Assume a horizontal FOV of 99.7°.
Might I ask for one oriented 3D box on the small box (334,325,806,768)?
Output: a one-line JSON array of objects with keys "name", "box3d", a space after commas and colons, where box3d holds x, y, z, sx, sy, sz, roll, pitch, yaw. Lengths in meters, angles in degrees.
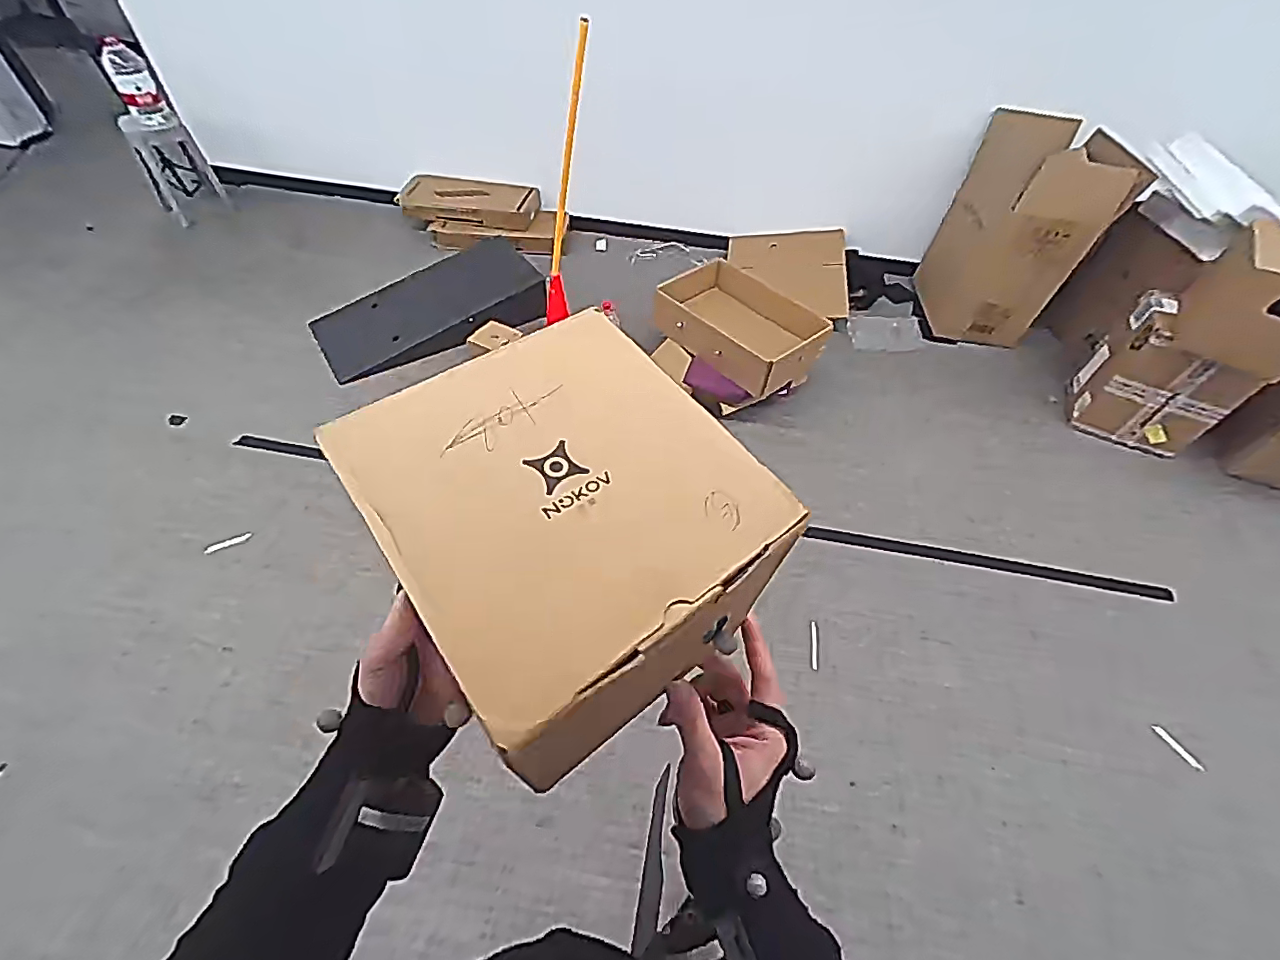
[{"name": "small box", "box3d": [-0.040, 0.047, 0.328, 0.168, 0.176, 0.179, -33, 65, -24]}]
